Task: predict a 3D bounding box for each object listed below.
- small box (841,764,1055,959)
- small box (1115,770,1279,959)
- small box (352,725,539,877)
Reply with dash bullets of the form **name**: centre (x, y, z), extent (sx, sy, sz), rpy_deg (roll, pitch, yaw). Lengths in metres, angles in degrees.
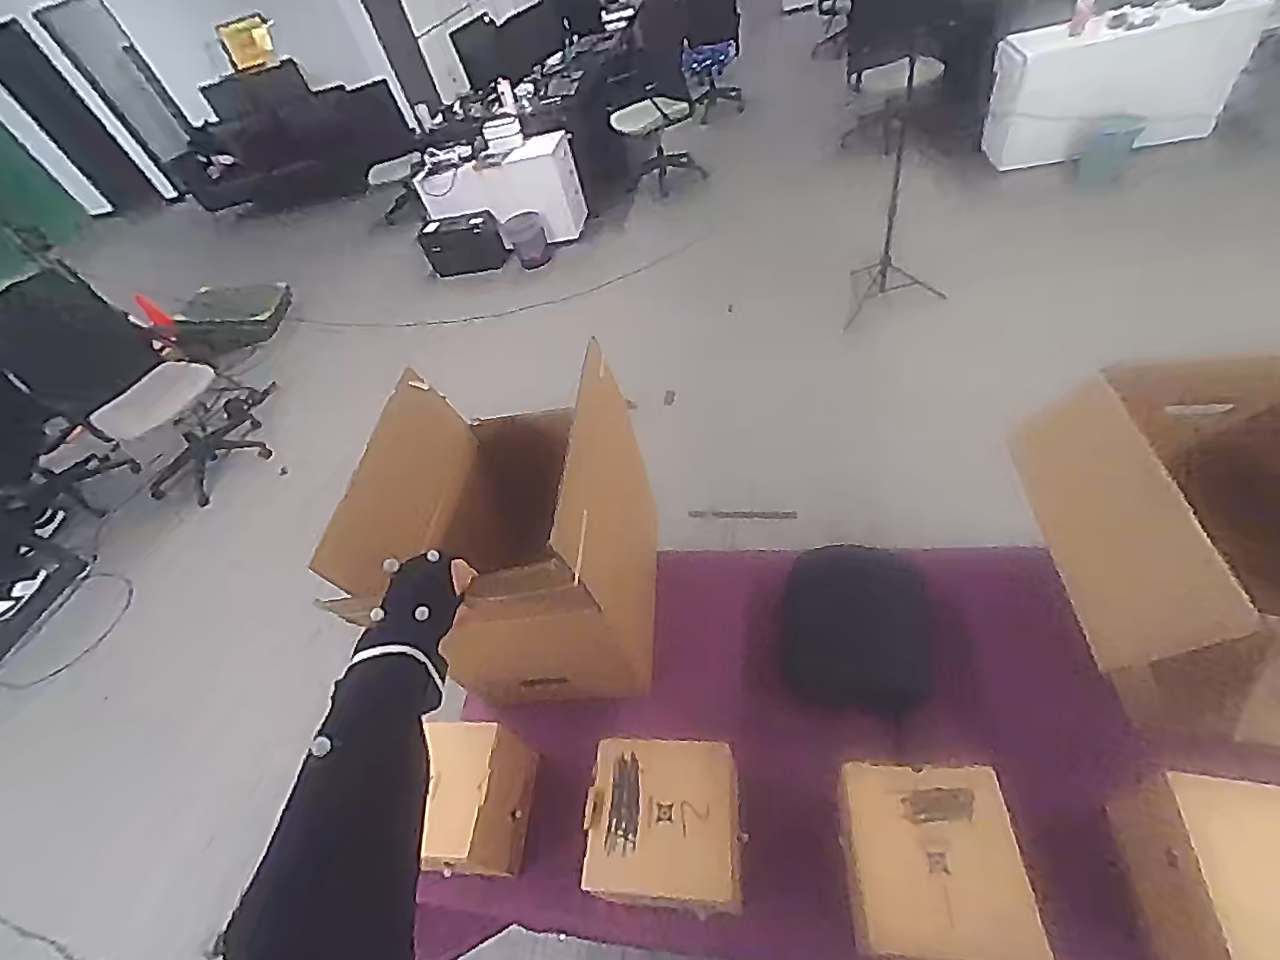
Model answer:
- **small box**: centre (0.335, 0.452, 0.633), extent (0.168, 0.176, 0.179), rpy_deg (-5, 49, 13)
- **small box**: centre (0.640, 0.430, 0.558), extent (0.168, 0.176, 0.179), rpy_deg (0, 49, 19)
- **small box**: centre (-0.271, 0.474, 0.798), extent (0.179, 0.176, 0.168), rpy_deg (-5, 48, 11)
